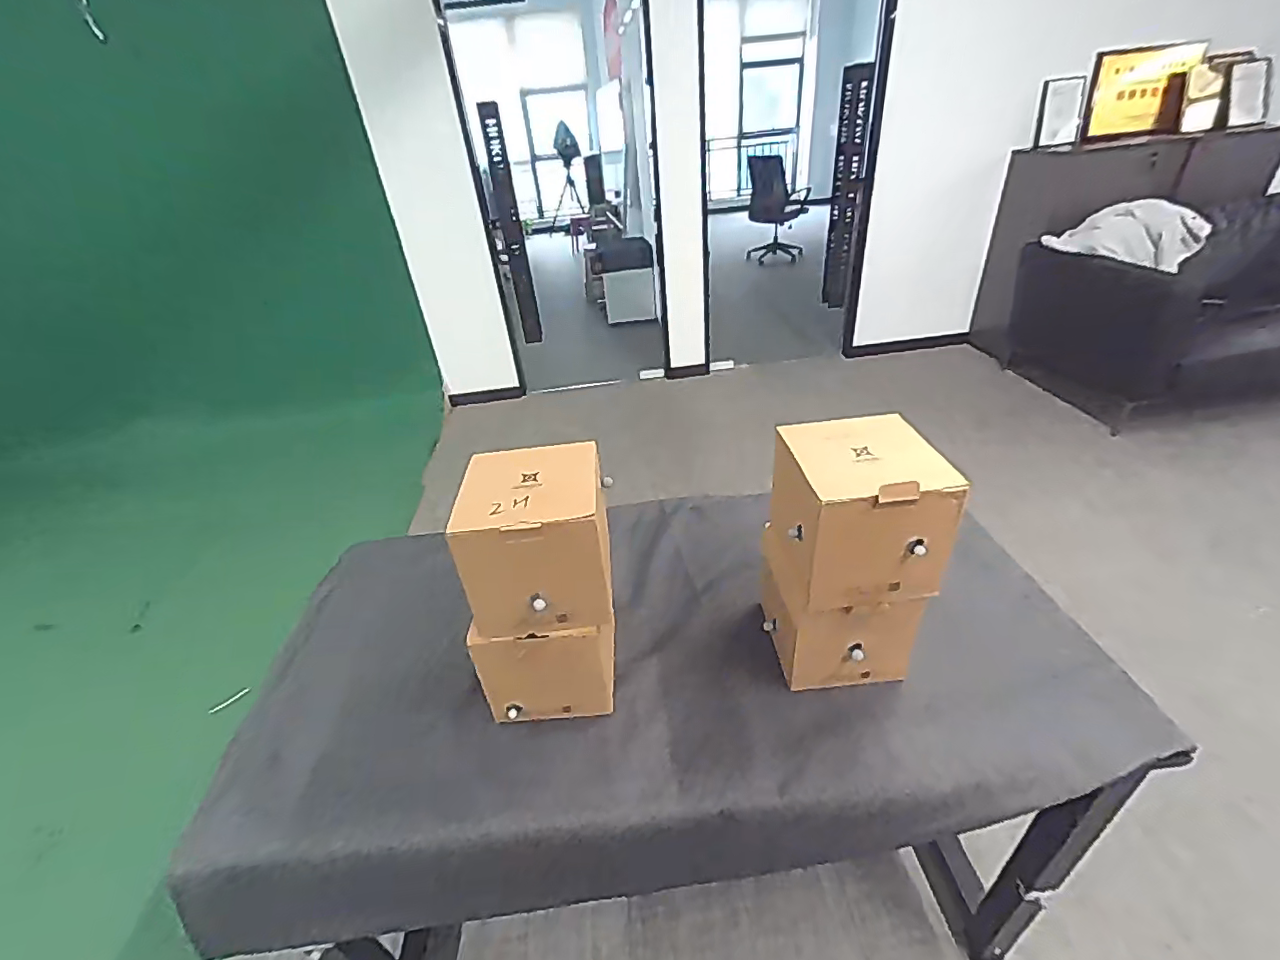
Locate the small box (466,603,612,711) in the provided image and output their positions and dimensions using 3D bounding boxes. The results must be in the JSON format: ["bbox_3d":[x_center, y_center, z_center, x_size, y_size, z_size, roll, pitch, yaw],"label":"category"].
[{"bbox_3d":[-0.131,0.214,0.781,0.168,0.176,0.179,-4,32,1],"label":"small box"}]

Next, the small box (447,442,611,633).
[{"bbox_3d":[-0.129,0.070,0.699,0.168,0.176,0.179,-7,33,-1],"label":"small box"}]

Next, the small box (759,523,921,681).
[{"bbox_3d":[0.274,0.172,0.784,0.168,0.176,0.179,-6,33,0],"label":"small box"}]

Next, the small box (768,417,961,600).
[{"bbox_3d":[0.267,0.038,0.691,0.168,0.176,0.179,-6,32,-1],"label":"small box"}]
